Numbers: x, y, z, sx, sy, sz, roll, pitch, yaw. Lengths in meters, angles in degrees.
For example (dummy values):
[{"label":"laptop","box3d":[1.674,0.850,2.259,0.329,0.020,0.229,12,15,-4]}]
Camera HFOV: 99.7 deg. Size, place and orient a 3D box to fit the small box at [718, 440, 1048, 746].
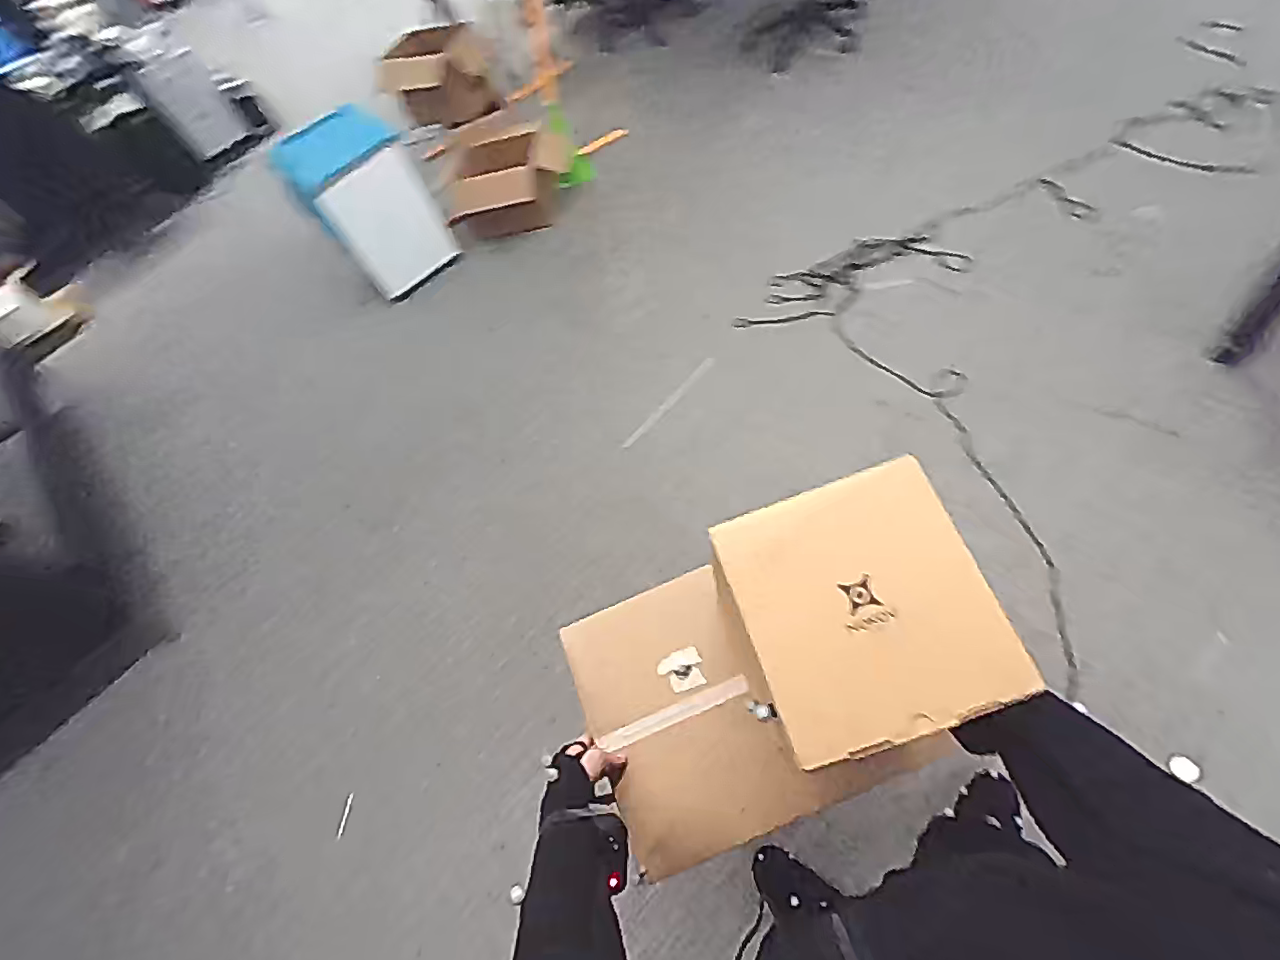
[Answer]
[{"label":"small box","box3d":[0.170,0.098,0.451,0.168,0.176,0.179,-20,69,2]}]
